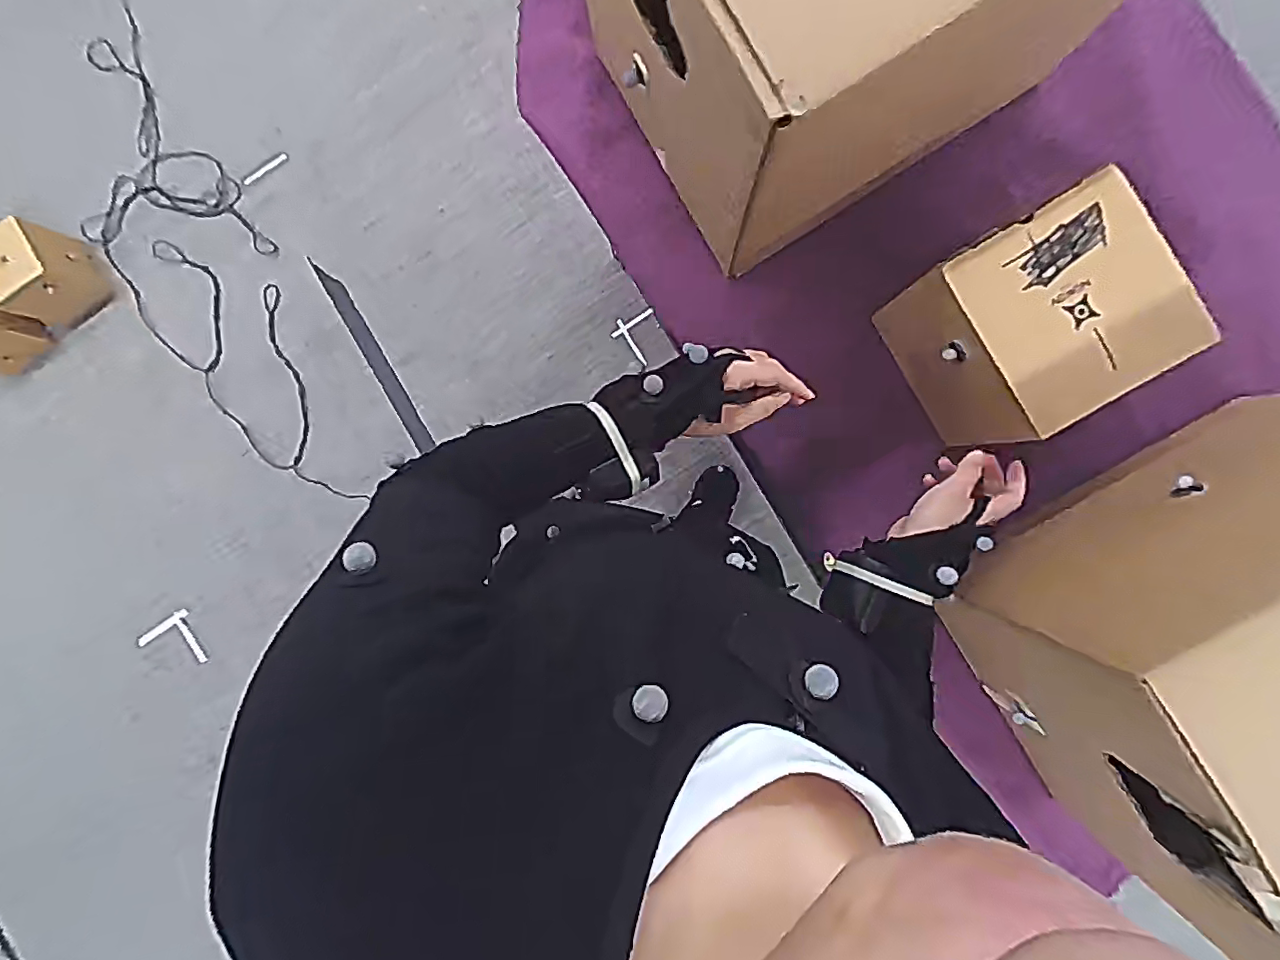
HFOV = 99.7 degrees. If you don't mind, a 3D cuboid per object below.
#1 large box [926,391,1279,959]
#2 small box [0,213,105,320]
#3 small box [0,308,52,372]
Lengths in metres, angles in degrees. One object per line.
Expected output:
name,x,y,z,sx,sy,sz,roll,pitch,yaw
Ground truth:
large box,0.555,0.141,0.453,0.408,0.320,0.320,-32,90,3
small box,-1.550,-0.542,1.397,0.179,0.176,0.168,-29,89,6
small box,-1.740,-0.408,1.422,0.168,0.176,0.179,-38,89,5
